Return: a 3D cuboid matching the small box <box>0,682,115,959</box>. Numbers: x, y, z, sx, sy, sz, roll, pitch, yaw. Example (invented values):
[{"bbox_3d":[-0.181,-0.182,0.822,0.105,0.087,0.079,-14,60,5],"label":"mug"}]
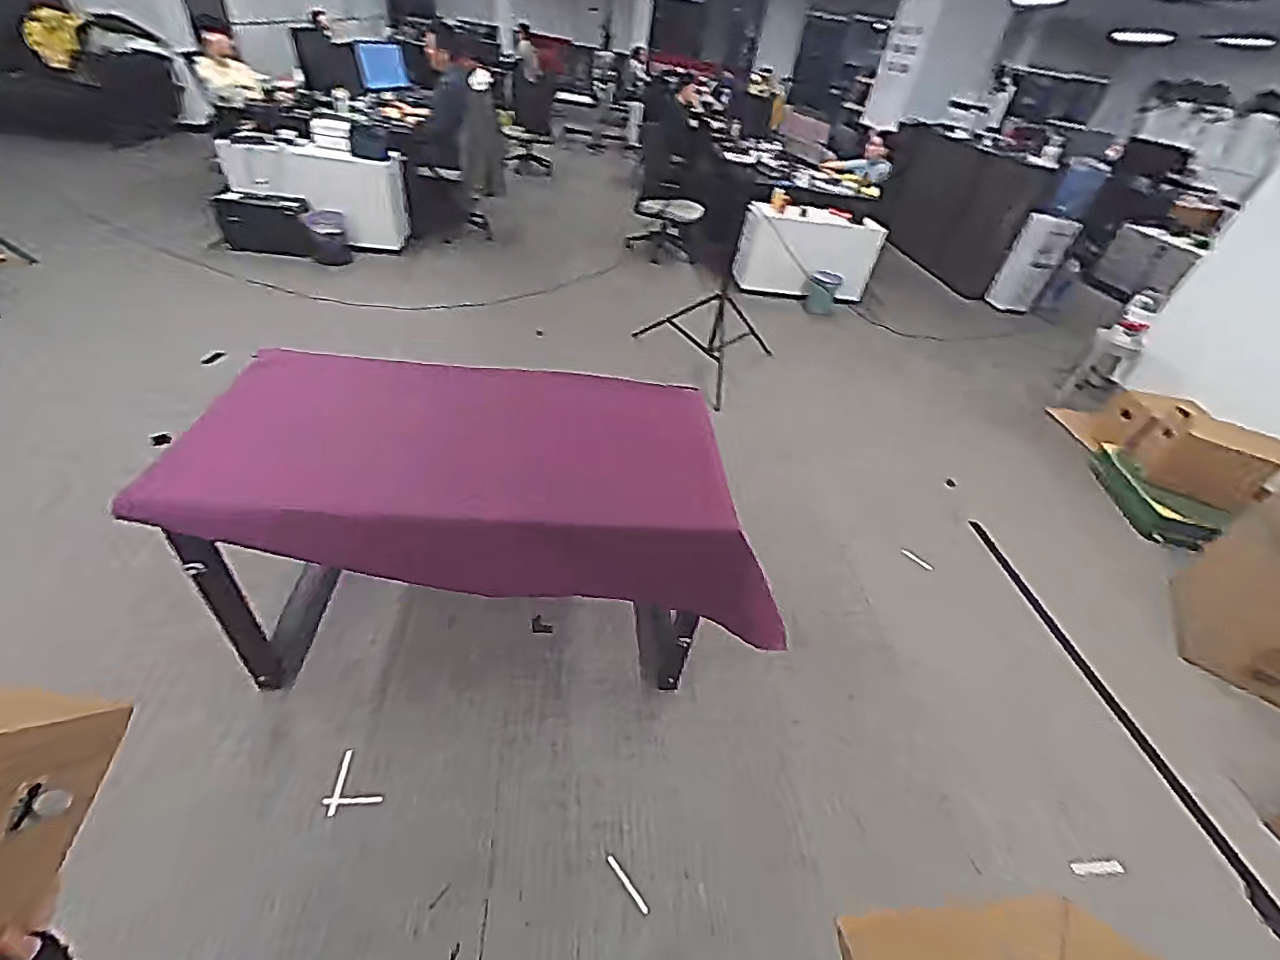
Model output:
[{"bbox_3d":[-0.387,0.170,0.222,0.168,0.179,0.176,18,65,-18],"label":"small box"}]
